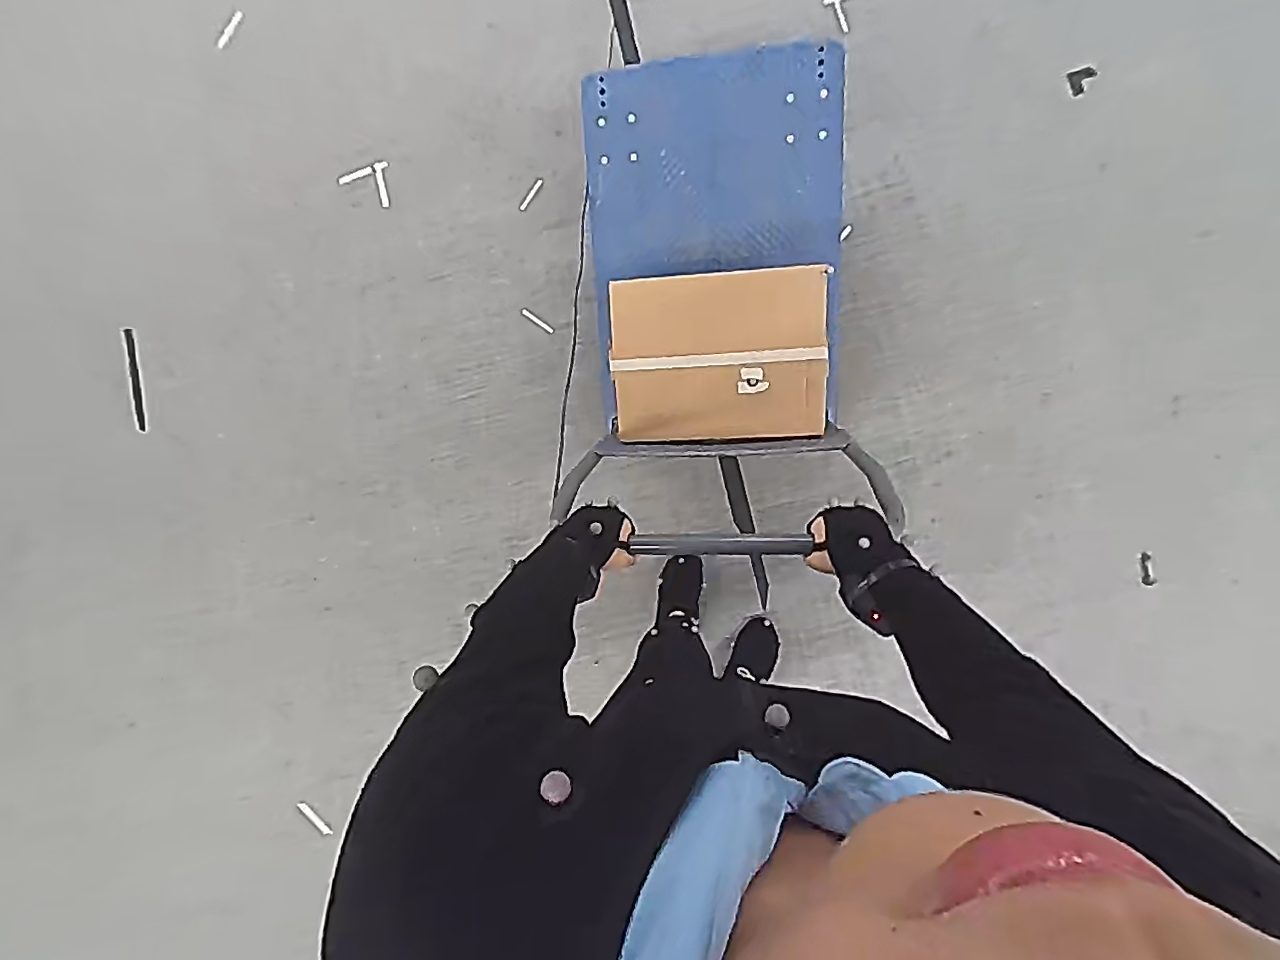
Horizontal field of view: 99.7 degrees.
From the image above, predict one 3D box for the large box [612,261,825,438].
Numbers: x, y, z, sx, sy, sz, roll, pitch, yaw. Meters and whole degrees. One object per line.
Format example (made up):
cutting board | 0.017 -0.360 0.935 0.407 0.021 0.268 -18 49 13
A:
large box | 0.170 -0.276 1.195 0.408 0.320 0.320 -2 103 8
